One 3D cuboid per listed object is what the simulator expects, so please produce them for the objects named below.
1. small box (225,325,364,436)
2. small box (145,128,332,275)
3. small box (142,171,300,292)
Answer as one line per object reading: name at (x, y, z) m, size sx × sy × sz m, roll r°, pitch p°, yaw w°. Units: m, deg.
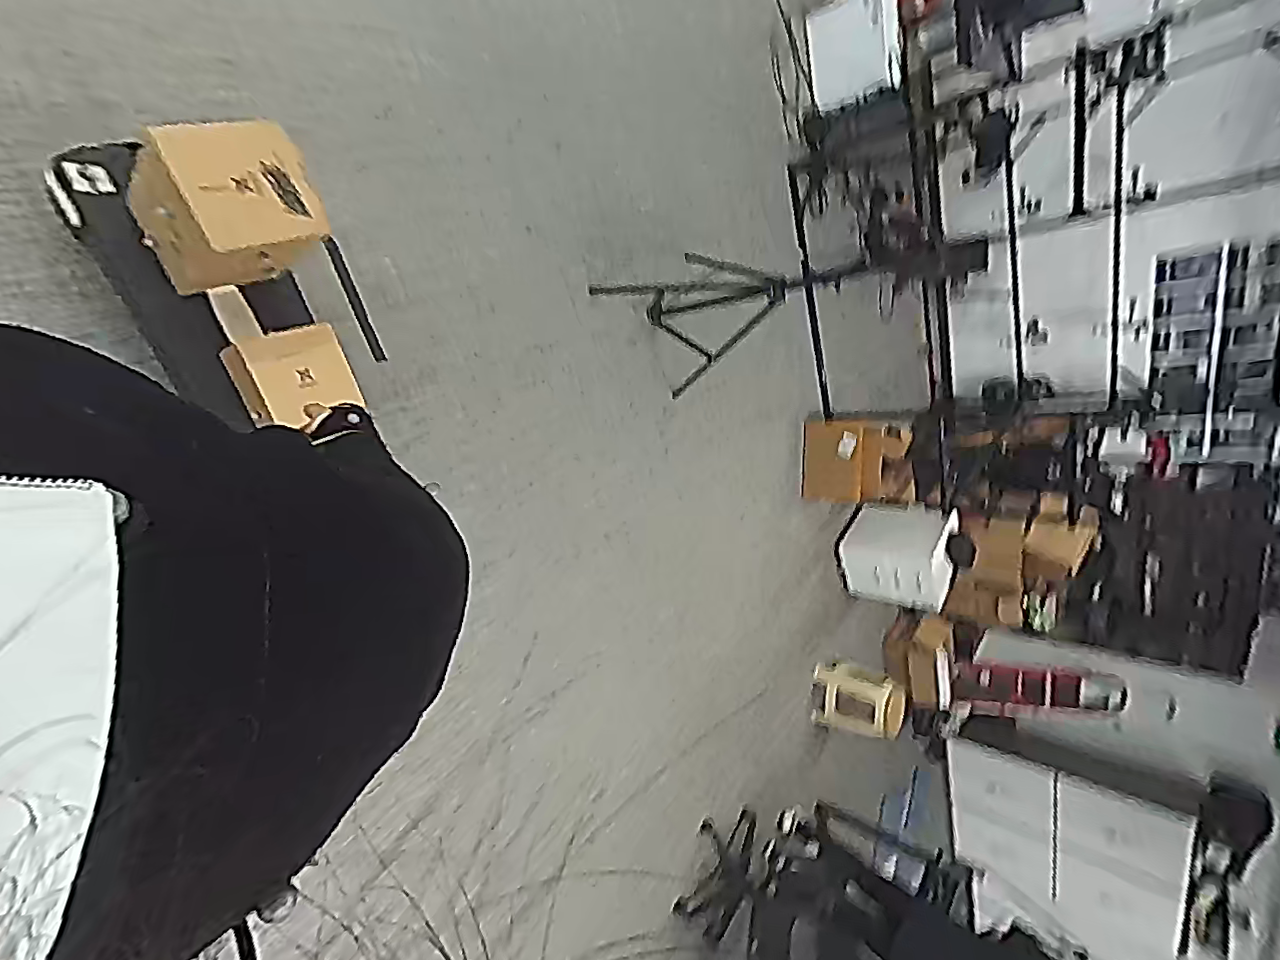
small box at (-0.691, -0.195, 1.081) m, size 0.168 × 0.176 × 0.179 m, roll -32°, pitch 113°, yaw -40°
small box at (-0.644, -0.443, 0.870) m, size 0.179 × 0.176 × 0.168 m, roll -36°, pitch 118°, yaw -38°
small box at (-0.766, -0.448, 0.980) m, size 0.179 × 0.176 × 0.168 m, roll -34°, pitch 116°, yaw -39°
